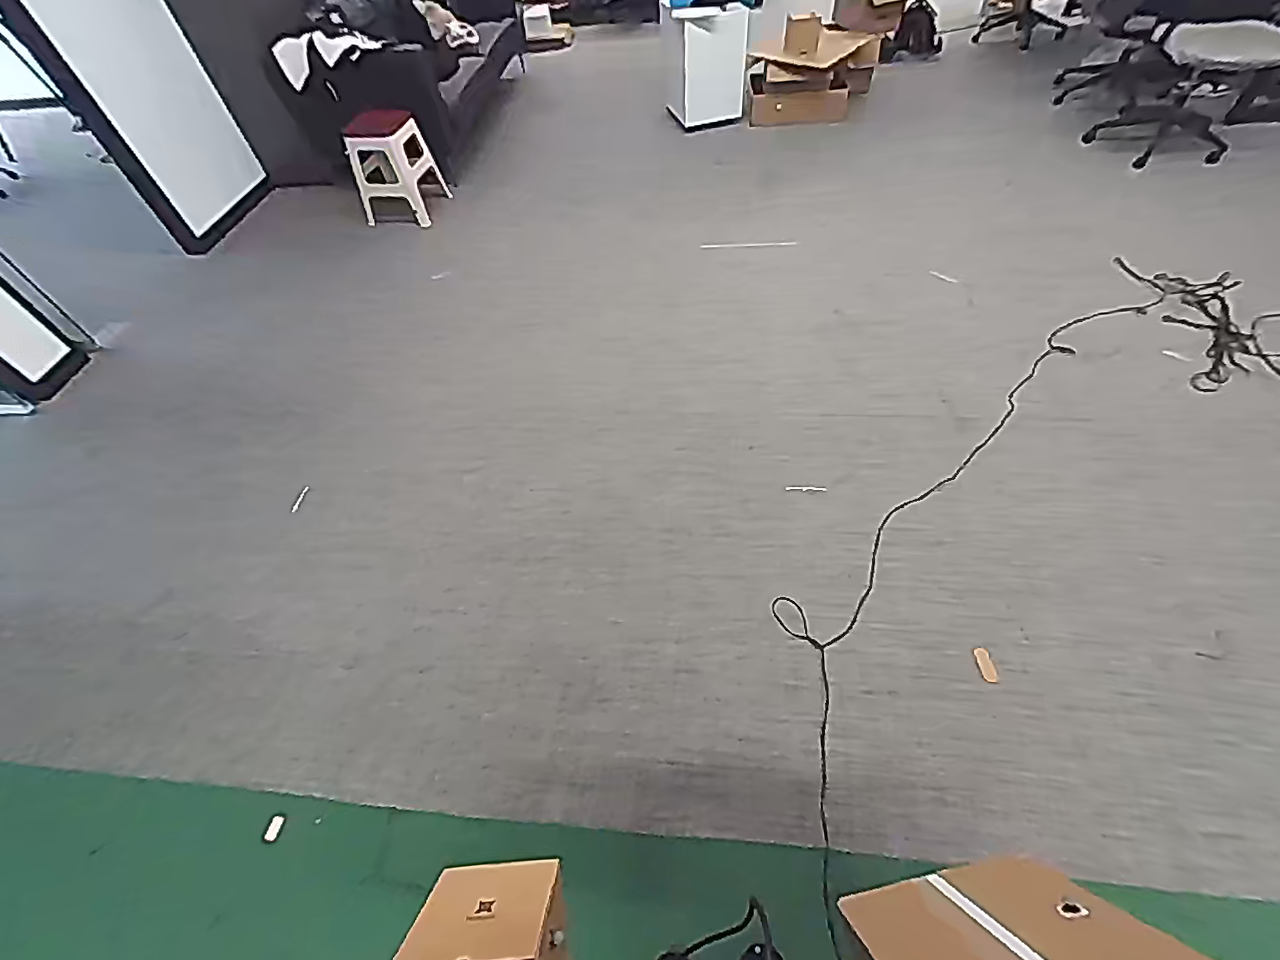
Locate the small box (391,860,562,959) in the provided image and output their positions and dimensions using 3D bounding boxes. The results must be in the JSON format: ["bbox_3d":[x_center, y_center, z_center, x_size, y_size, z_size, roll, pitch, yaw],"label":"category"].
[{"bbox_3d":[-0.193,0.623,0.679,0.168,0.179,0.176,-5,87,0],"label":"small box"}]
